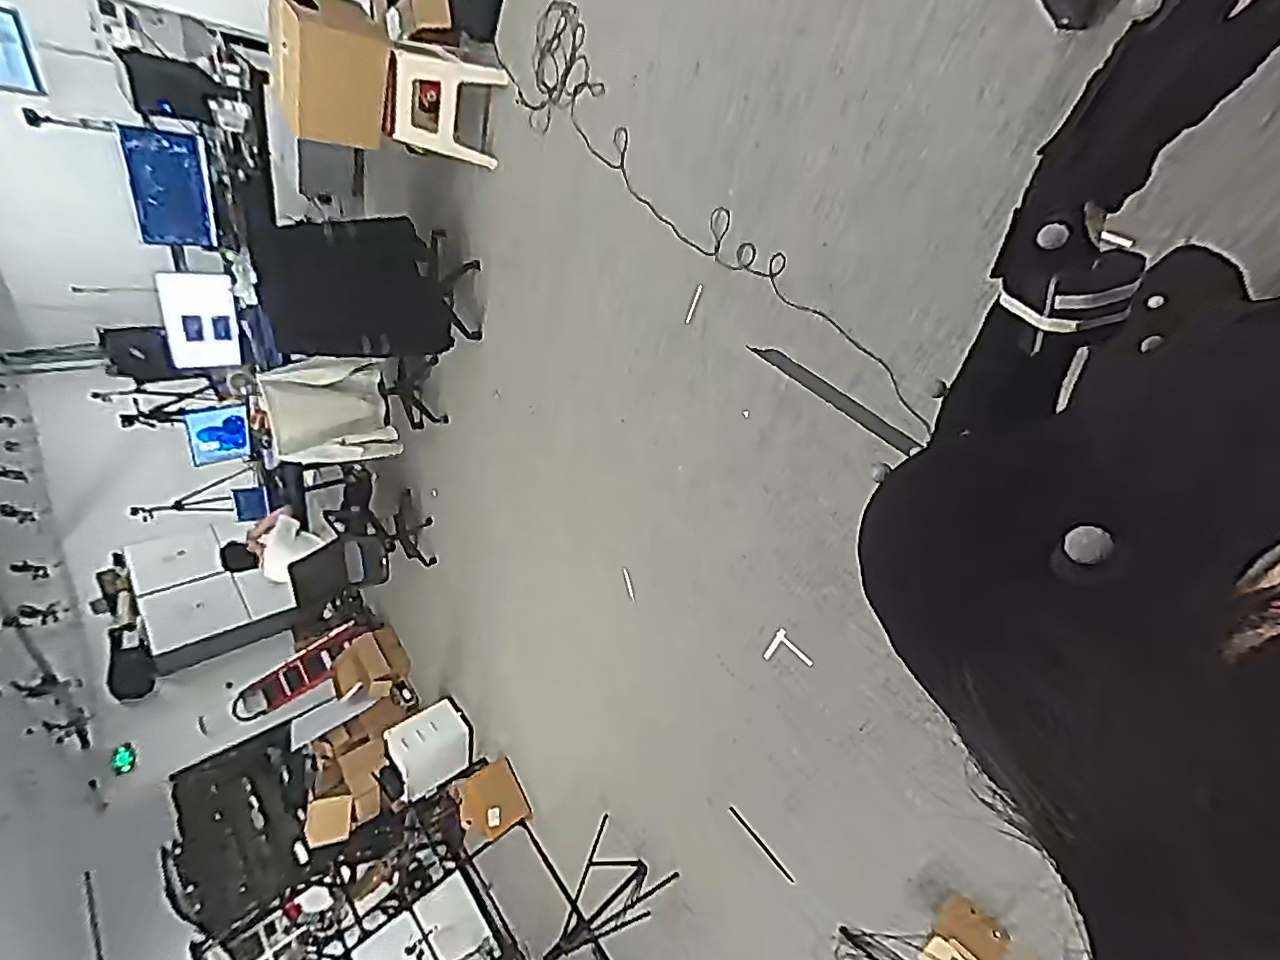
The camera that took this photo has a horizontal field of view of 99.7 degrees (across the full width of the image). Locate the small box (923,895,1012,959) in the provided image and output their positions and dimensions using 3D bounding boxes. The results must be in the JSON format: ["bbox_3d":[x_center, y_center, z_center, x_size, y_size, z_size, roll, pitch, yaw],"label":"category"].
[{"bbox_3d":[1.017,1.443,1.669,0.168,0.176,0.179,32,127,35],"label":"small box"}]
